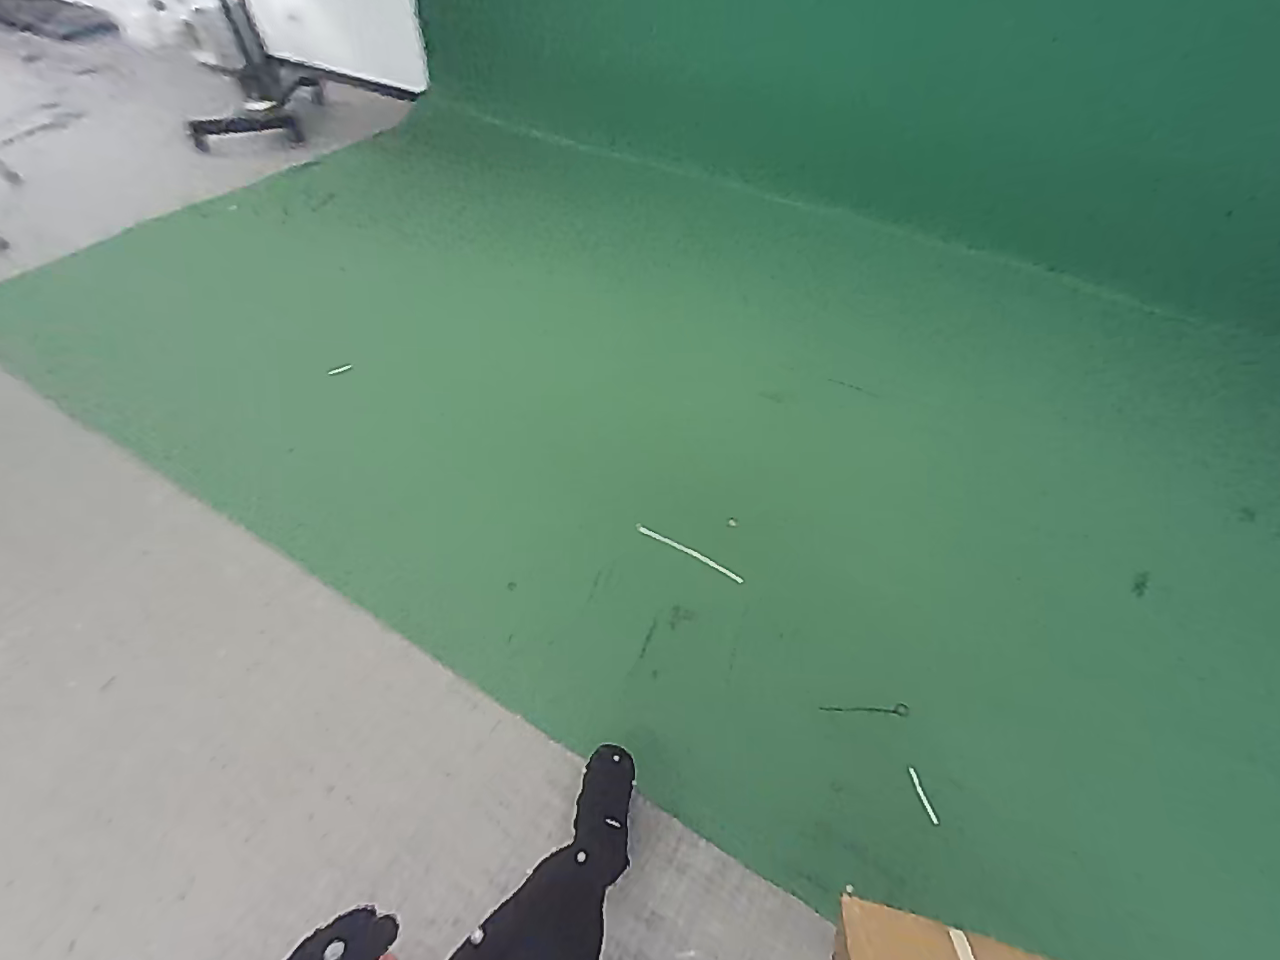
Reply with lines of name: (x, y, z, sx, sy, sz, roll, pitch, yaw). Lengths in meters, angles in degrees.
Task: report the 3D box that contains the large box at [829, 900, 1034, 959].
large box: (0.380, 0.812, 0.606, 0.320, 0.408, 0.320, 10, 91, 15)
